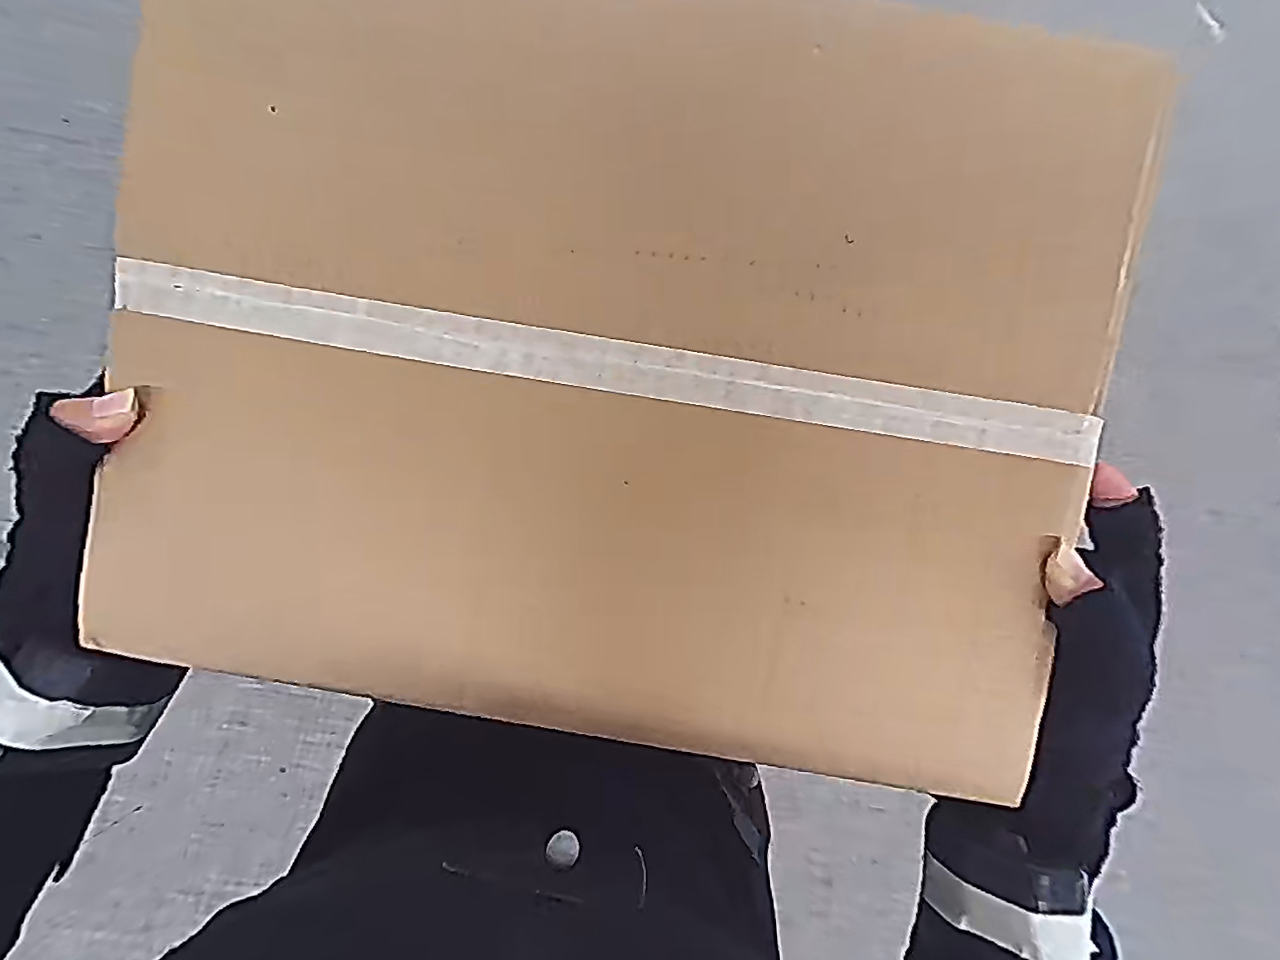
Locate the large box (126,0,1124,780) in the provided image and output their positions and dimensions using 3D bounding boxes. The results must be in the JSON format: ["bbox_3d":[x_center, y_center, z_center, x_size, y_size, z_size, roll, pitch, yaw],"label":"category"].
[{"bbox_3d":[-0.012,-0.051,0.384,0.408,0.320,0.320,10,93,0],"label":"large box"}]
